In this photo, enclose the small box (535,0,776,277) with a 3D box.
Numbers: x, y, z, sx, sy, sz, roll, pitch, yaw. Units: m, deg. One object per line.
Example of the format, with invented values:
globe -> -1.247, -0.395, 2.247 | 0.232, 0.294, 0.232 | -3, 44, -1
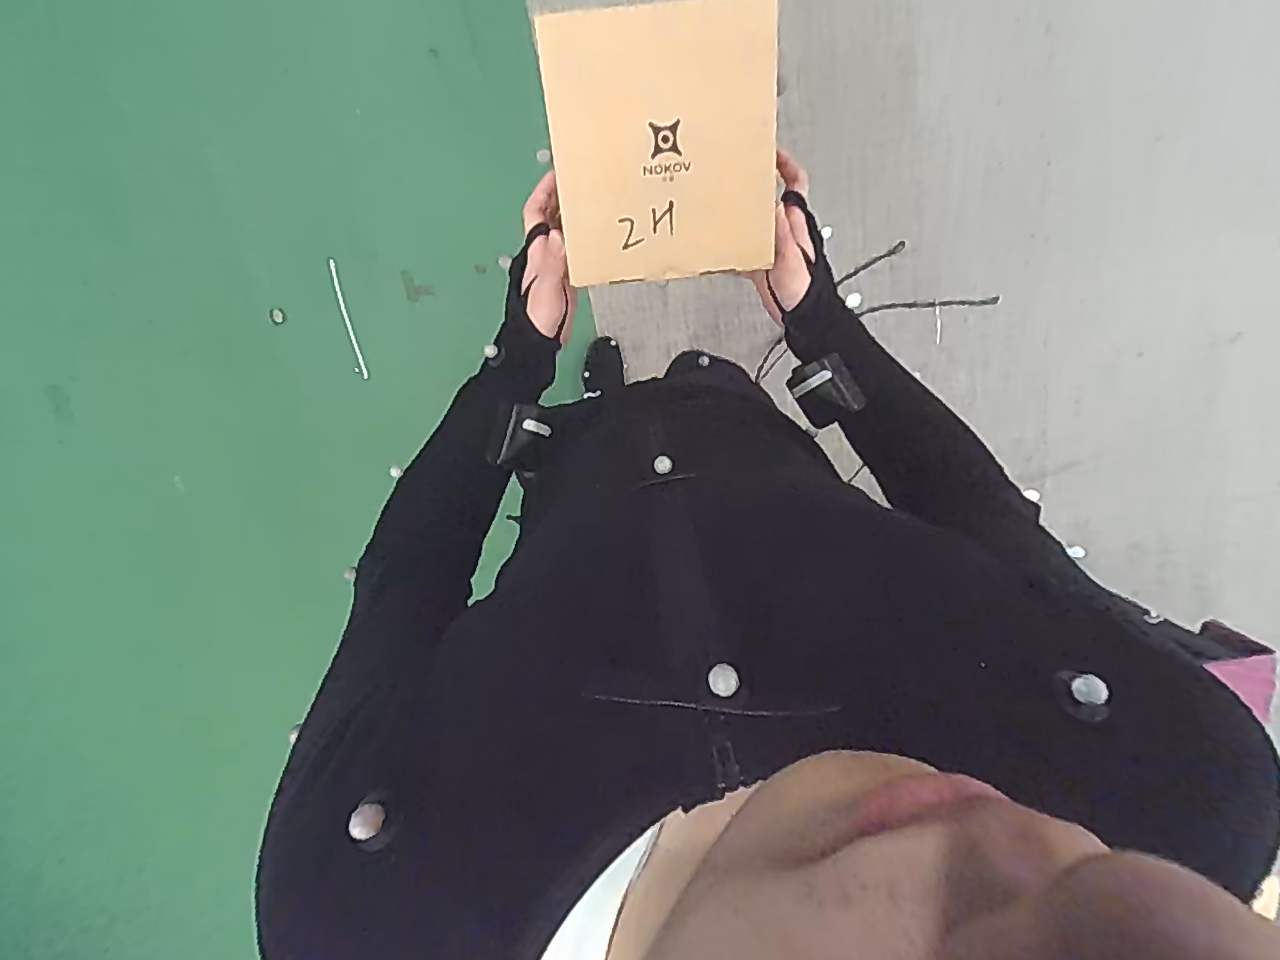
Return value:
small box -> 0.013, -0.276, 0.464 | 0.168, 0.176, 0.179 | -5, 115, 1
